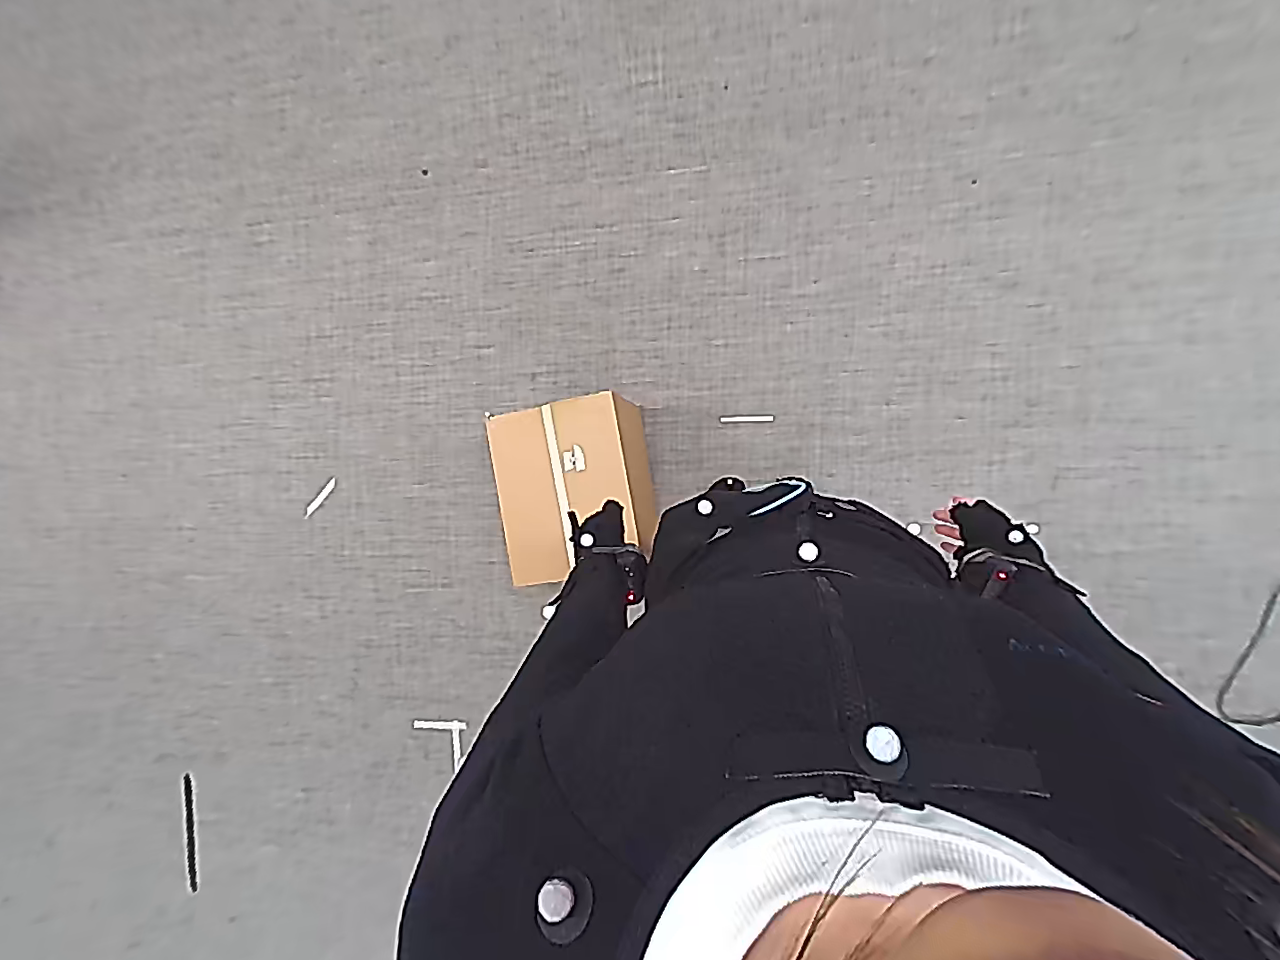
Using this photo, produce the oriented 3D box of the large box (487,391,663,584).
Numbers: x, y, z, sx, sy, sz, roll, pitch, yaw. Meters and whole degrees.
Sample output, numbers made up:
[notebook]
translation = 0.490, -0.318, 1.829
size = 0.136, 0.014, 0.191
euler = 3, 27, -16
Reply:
[large box]
translation = -0.147, 0.021, 1.381
size = 0.320, 0.320, 0.408
euler = -11, 88, 10
